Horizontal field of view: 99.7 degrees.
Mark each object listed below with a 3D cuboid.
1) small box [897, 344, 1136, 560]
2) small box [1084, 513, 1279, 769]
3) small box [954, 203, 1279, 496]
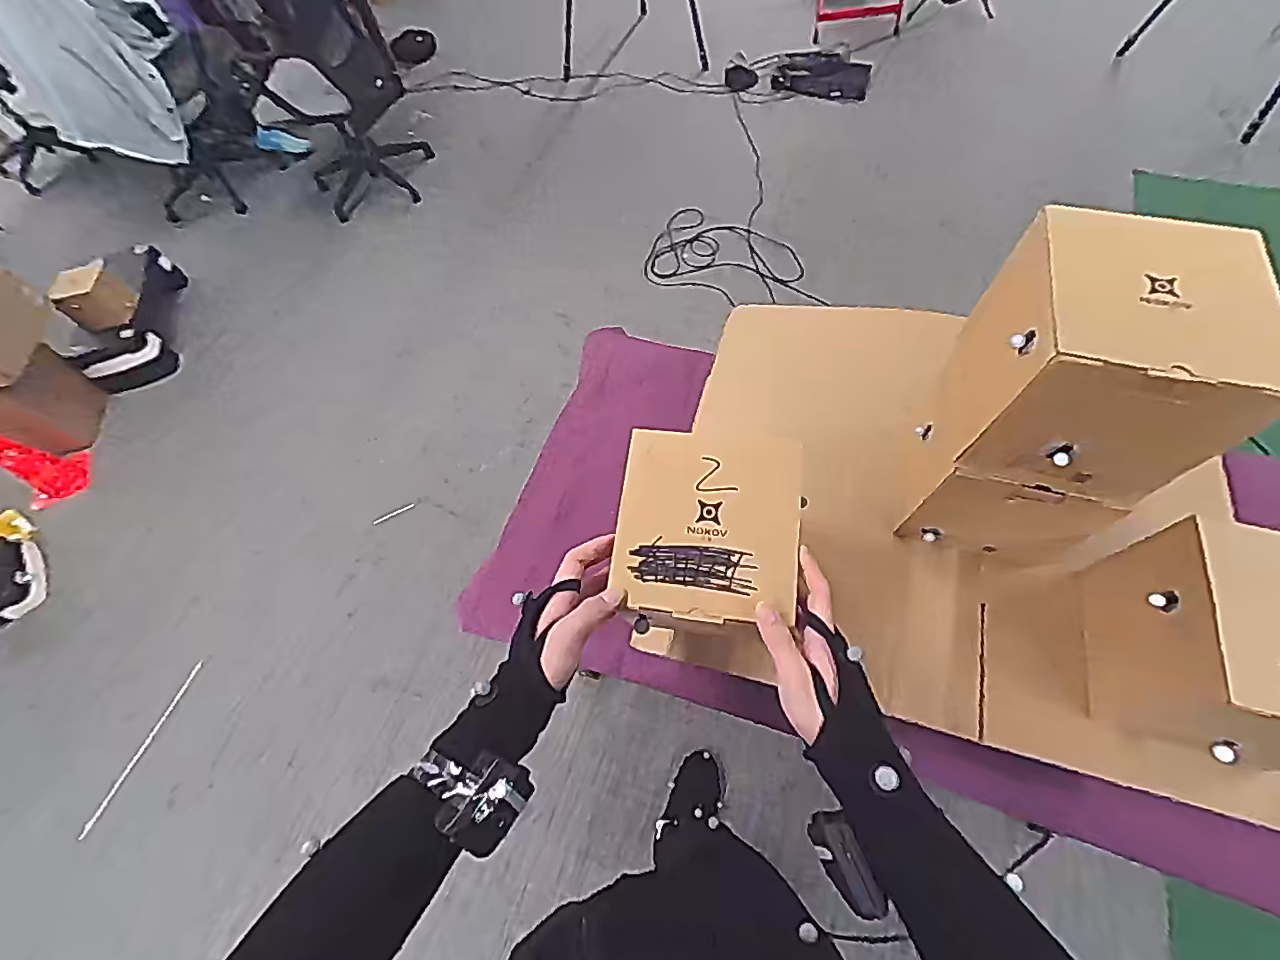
[{"bbox_3d":[0.414,-0.026,0.626,0.168,0.176,0.179,13,63,9],"label":"small box"},{"bbox_3d":[0.570,0.160,0.519,0.168,0.176,0.179,14,64,11],"label":"small box"},{"bbox_3d":[0.406,-0.109,0.487,0.168,0.176,0.179,13,64,9],"label":"small box"}]
